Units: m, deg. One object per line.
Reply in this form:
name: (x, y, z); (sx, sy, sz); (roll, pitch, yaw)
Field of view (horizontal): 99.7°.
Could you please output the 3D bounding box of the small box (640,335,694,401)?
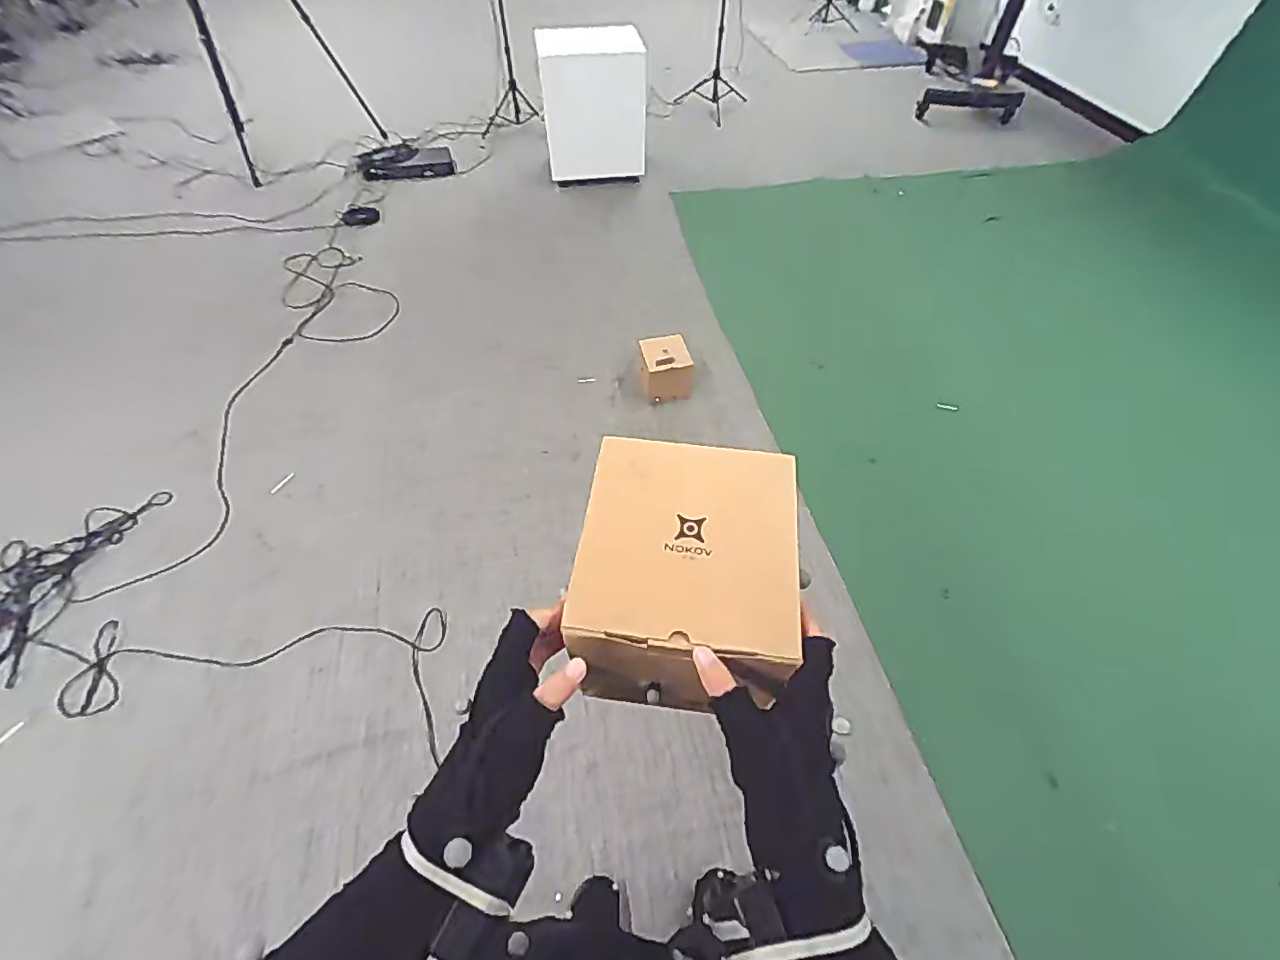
small box: (0.097, -0.409, 2.012); (0.168, 0.176, 0.179); (-10, 54, -8)
